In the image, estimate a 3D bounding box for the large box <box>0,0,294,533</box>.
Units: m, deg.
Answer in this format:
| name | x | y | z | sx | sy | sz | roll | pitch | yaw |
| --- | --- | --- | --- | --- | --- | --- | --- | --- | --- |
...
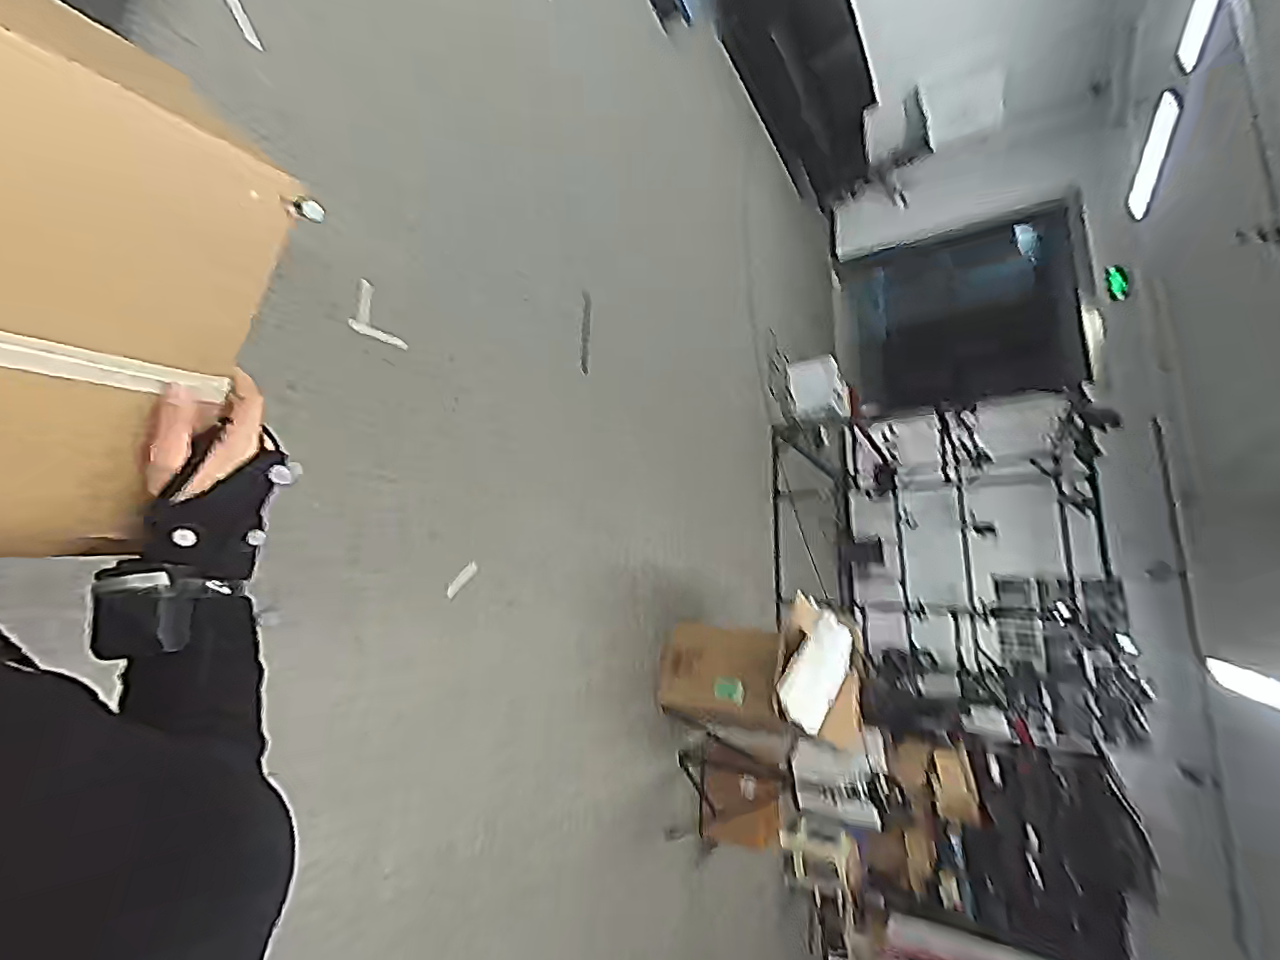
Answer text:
| name | x | y | z | sx | sy | sz | roll | pitch | yaw |
| --- | --- | --- | --- | --- | --- | --- | --- | --- | --- |
| large box | -0.514 | -0.181 | 0.305 | 0.320 | 0.320 | 0.408 | -55 | 152 | 16 |
